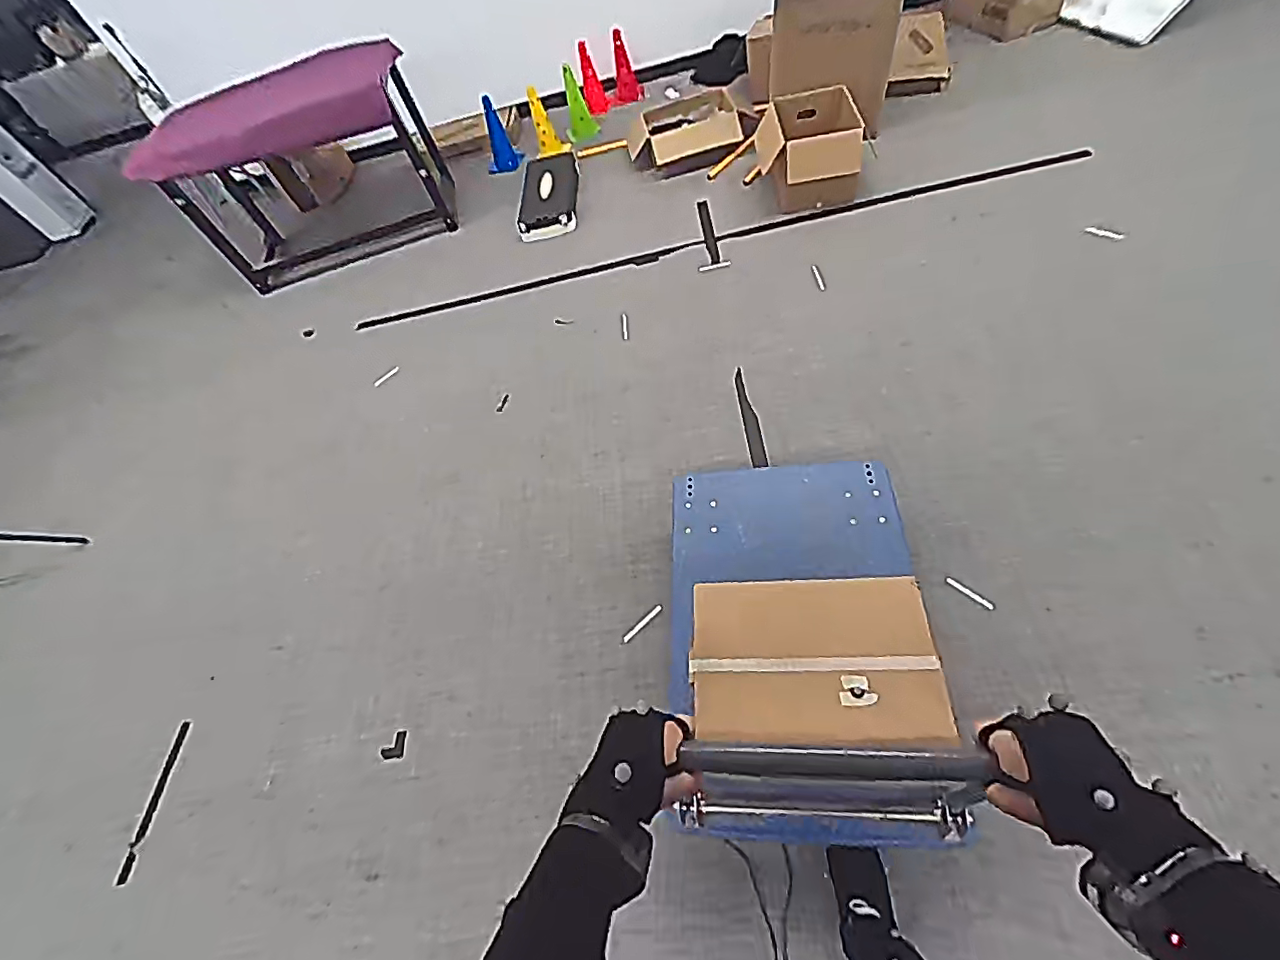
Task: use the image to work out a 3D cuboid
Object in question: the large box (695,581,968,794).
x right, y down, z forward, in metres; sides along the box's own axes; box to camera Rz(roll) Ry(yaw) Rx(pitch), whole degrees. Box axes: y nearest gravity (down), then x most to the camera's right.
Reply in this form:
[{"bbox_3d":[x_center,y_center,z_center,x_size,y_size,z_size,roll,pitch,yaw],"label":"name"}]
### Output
[{"bbox_3d":[0.321,0.403,1.028,0.408,0.320,0.320,-4,56,11],"label":"large box"}]
